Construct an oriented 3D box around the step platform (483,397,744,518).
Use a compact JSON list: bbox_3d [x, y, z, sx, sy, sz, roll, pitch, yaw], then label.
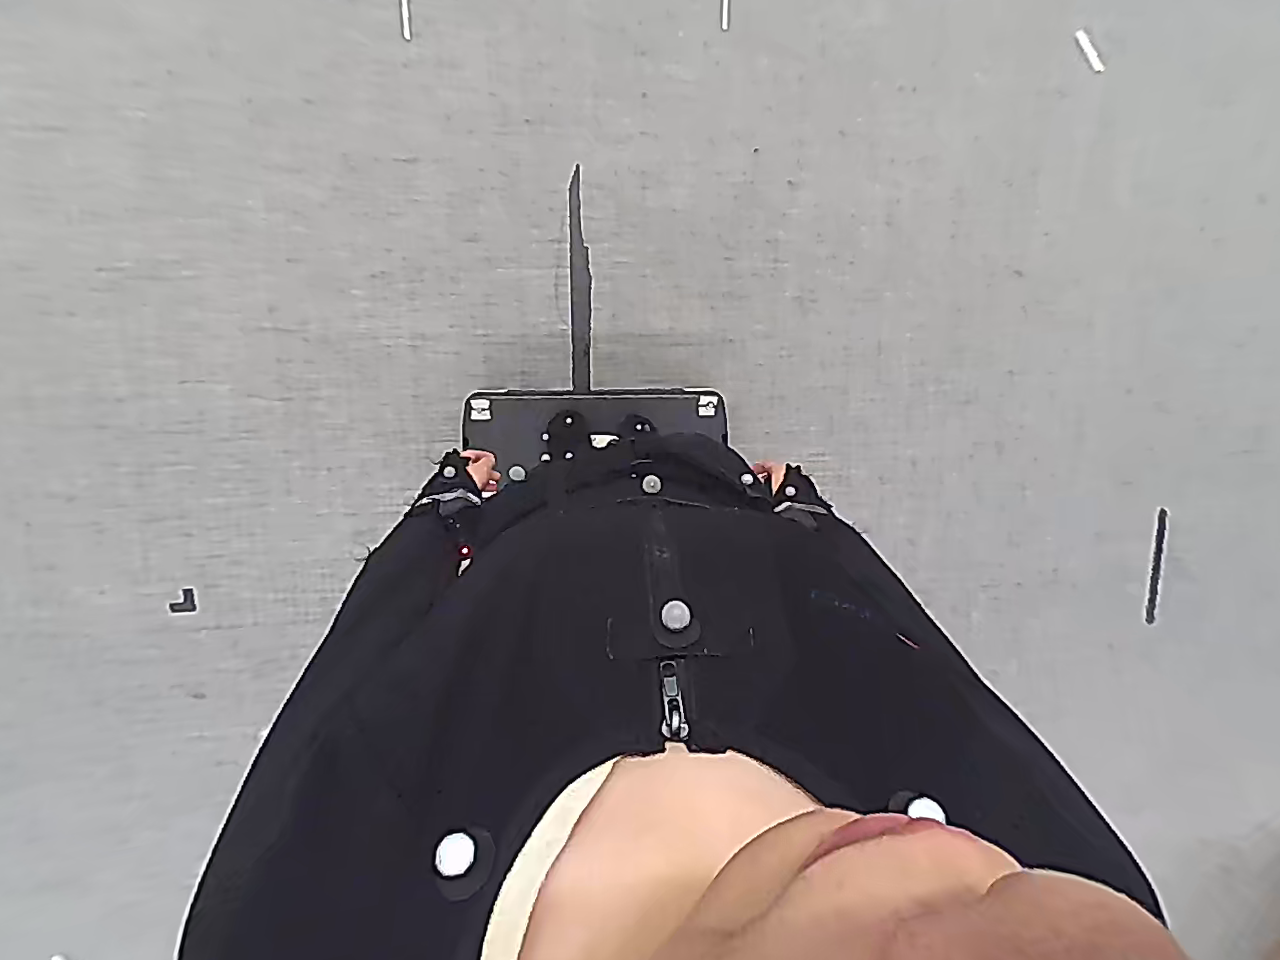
[{"bbox_3d":[-0.068,-0.060,1.450,0.684,0.204,0.286,3,98,-6],"label":"step platform"}]
